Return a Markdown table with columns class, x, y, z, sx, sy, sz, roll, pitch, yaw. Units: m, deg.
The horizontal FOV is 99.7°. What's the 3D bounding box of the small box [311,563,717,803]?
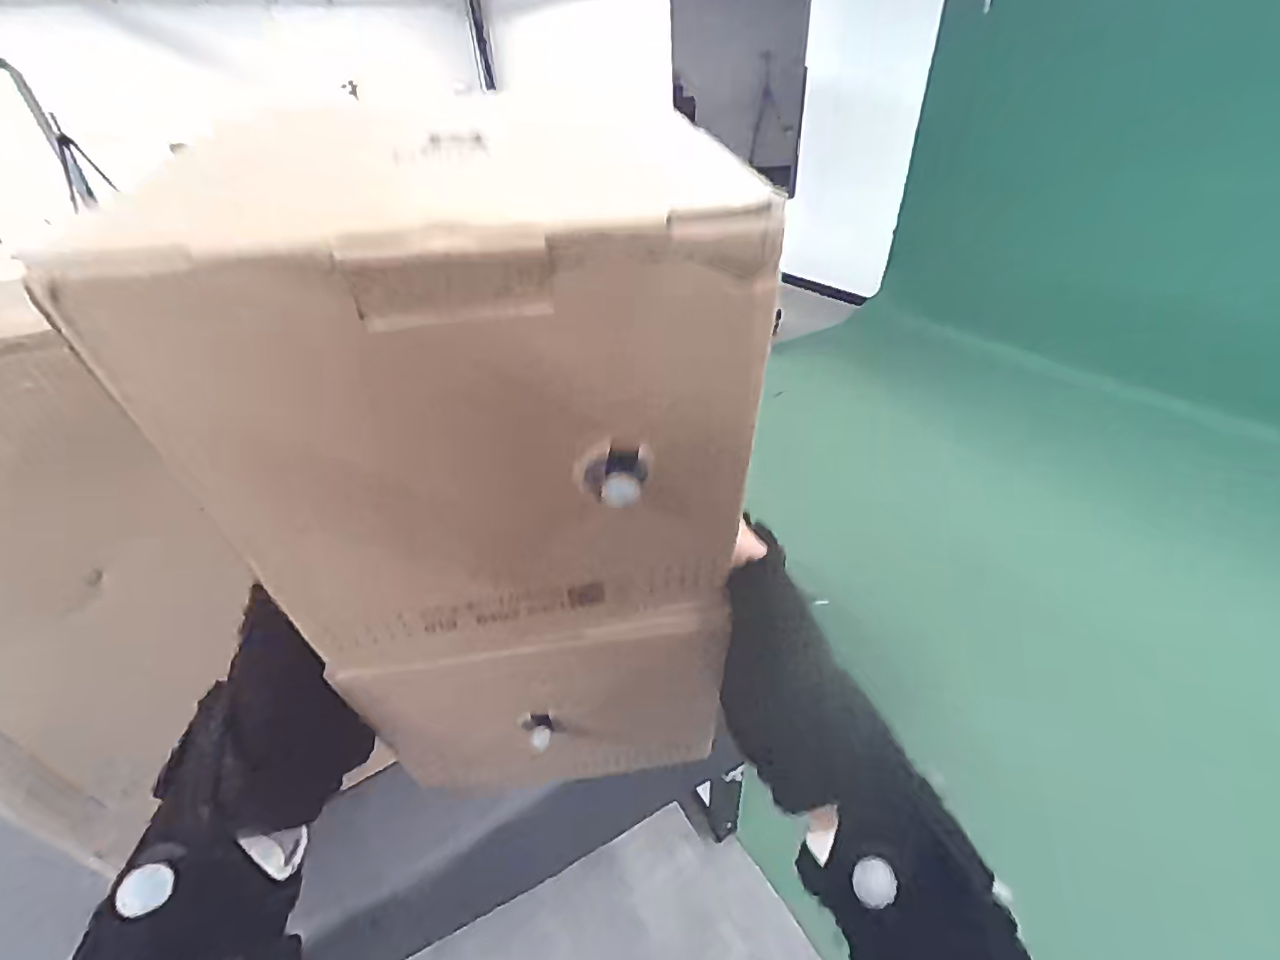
| class | x | y | z | sx | sy | sz | roll | pitch | yaw |
| --- | --- | --- | --- | --- | --- | --- | --- | --- | --- |
| small box | -0.060 | 0.082 | 0.343 | 0.179 | 0.176 | 0.168 | -5 | 43 | -5 |
